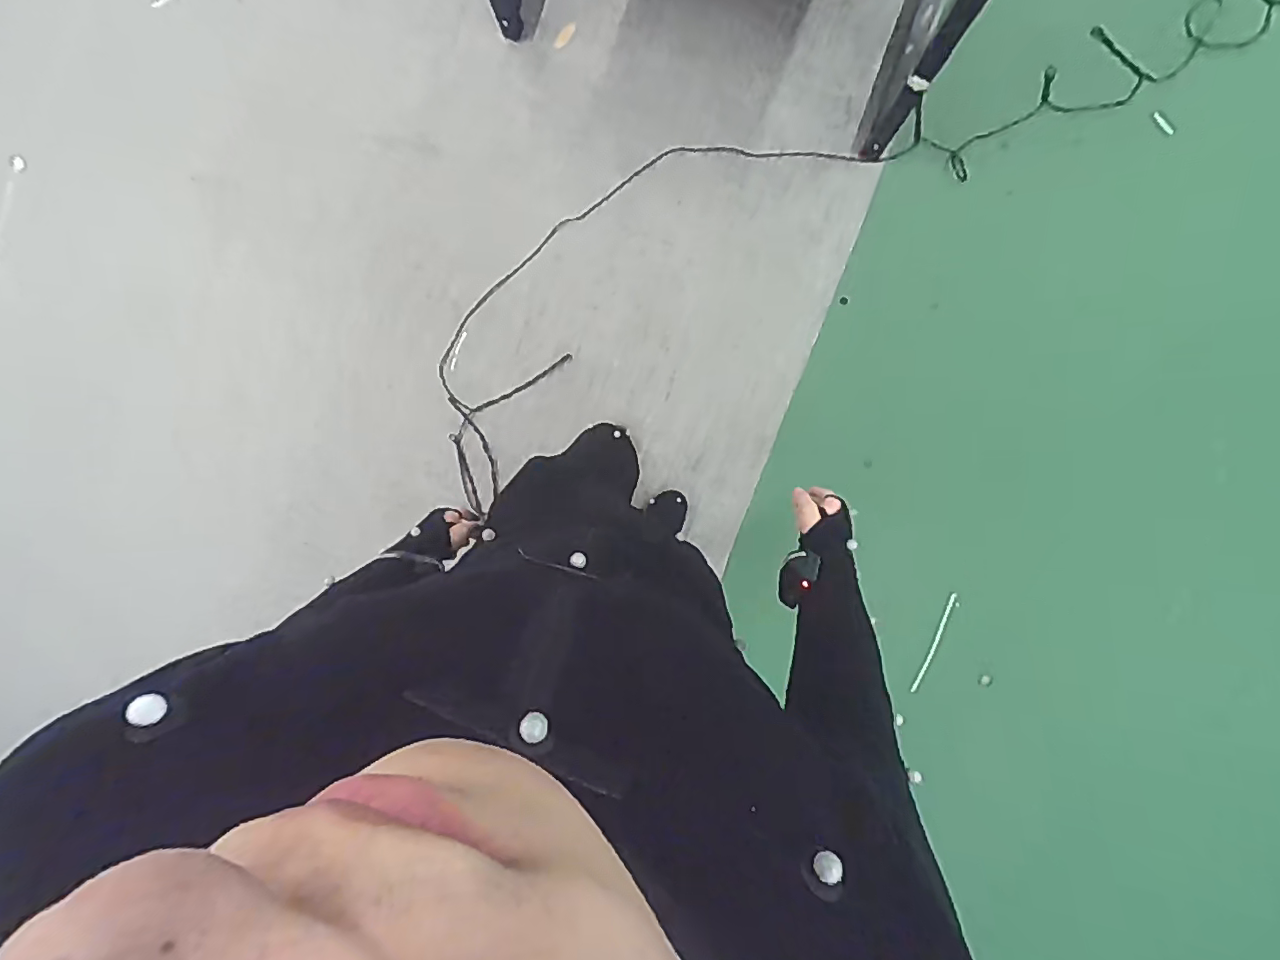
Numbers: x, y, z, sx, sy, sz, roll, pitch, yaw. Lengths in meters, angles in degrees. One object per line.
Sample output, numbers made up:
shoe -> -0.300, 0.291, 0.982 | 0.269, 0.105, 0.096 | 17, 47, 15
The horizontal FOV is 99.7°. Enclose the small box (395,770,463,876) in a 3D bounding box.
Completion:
small box -> -0.651, 1.010, 1.610 | 0.168, 0.176, 0.179 | 25, 94, 2
